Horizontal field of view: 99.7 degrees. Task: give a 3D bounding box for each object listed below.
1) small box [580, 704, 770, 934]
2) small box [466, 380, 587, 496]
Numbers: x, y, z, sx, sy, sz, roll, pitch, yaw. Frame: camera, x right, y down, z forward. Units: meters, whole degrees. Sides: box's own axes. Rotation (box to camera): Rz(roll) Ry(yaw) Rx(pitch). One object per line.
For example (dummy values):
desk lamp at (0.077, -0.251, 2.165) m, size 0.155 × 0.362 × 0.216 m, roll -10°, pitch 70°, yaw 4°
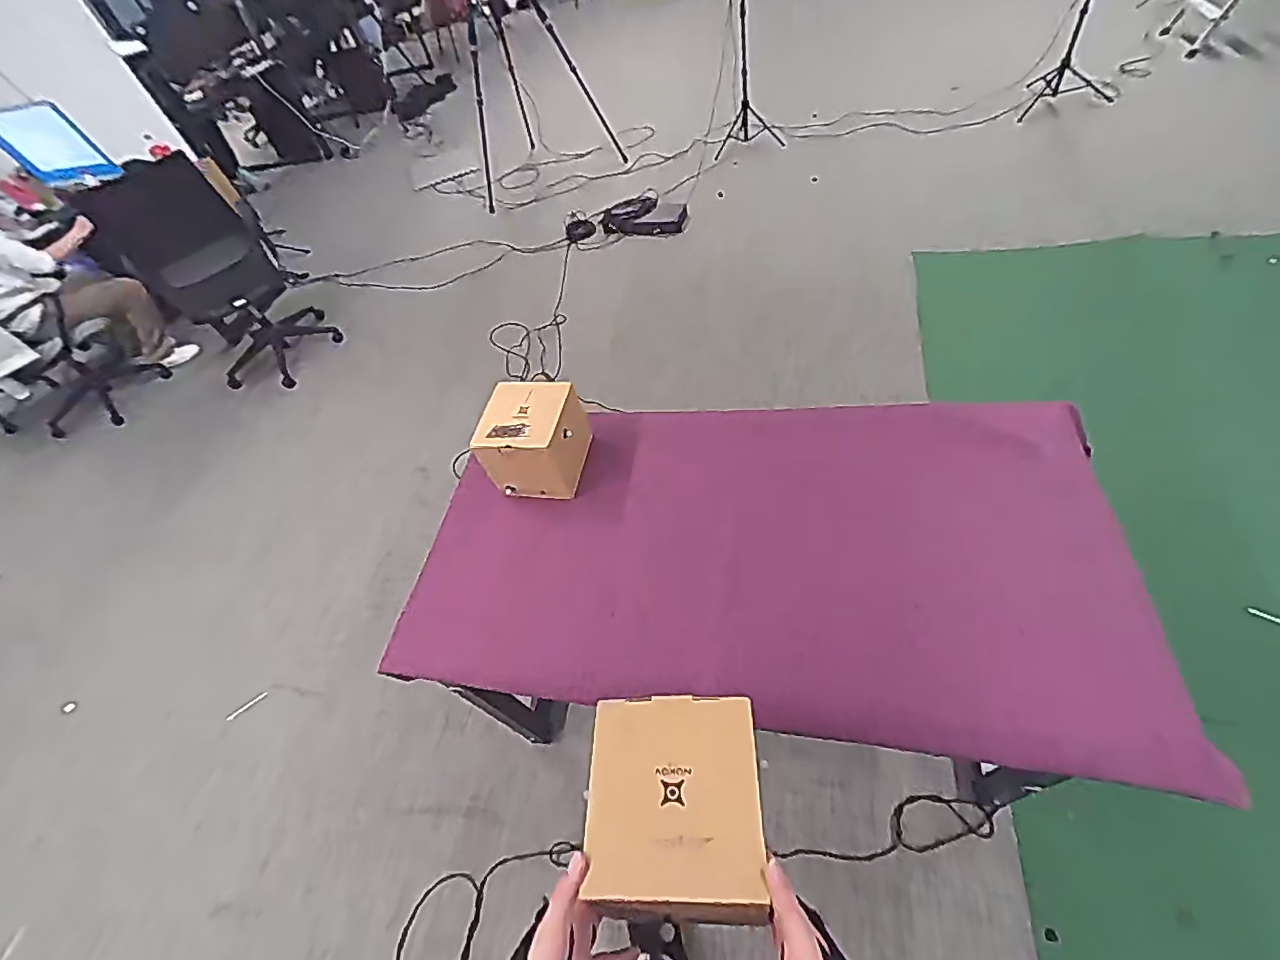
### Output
small box at (0.042, 0.357, 0.573) m, size 0.168 × 0.176 × 0.179 m, roll -3°, pitch 47°, yaw 7°
small box at (-0.219, -0.083, 1.100) m, size 0.168 × 0.176 × 0.179 m, roll 4°, pitch 56°, yaw 14°
